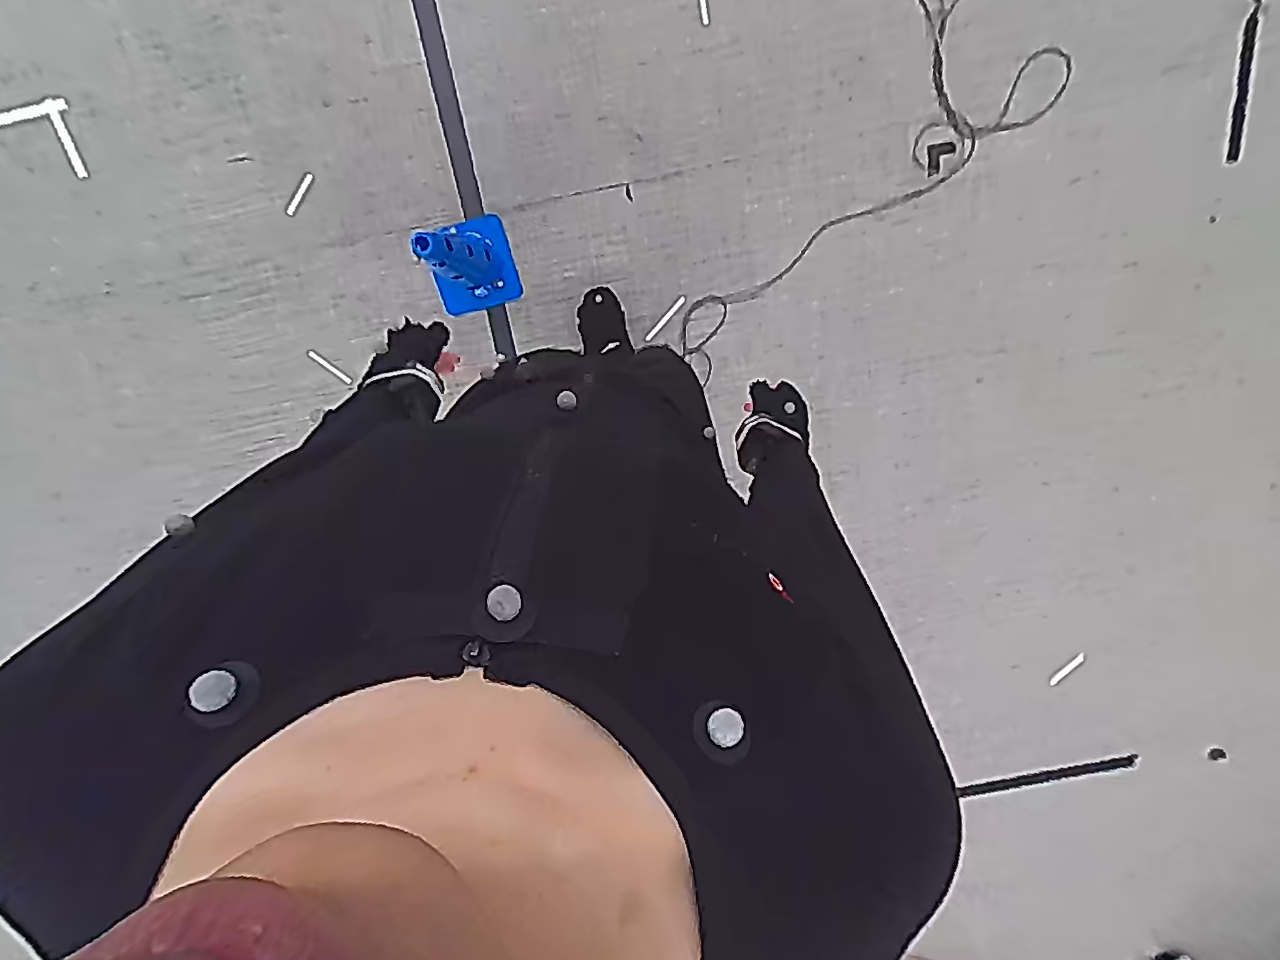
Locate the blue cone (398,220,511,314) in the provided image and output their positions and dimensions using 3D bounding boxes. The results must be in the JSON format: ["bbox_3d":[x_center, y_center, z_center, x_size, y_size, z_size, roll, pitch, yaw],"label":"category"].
[{"bbox_3d":[-0.416,-0.474,1.155,0.192,0.380,0.193,-14,105,2],"label":"blue cone"}]
